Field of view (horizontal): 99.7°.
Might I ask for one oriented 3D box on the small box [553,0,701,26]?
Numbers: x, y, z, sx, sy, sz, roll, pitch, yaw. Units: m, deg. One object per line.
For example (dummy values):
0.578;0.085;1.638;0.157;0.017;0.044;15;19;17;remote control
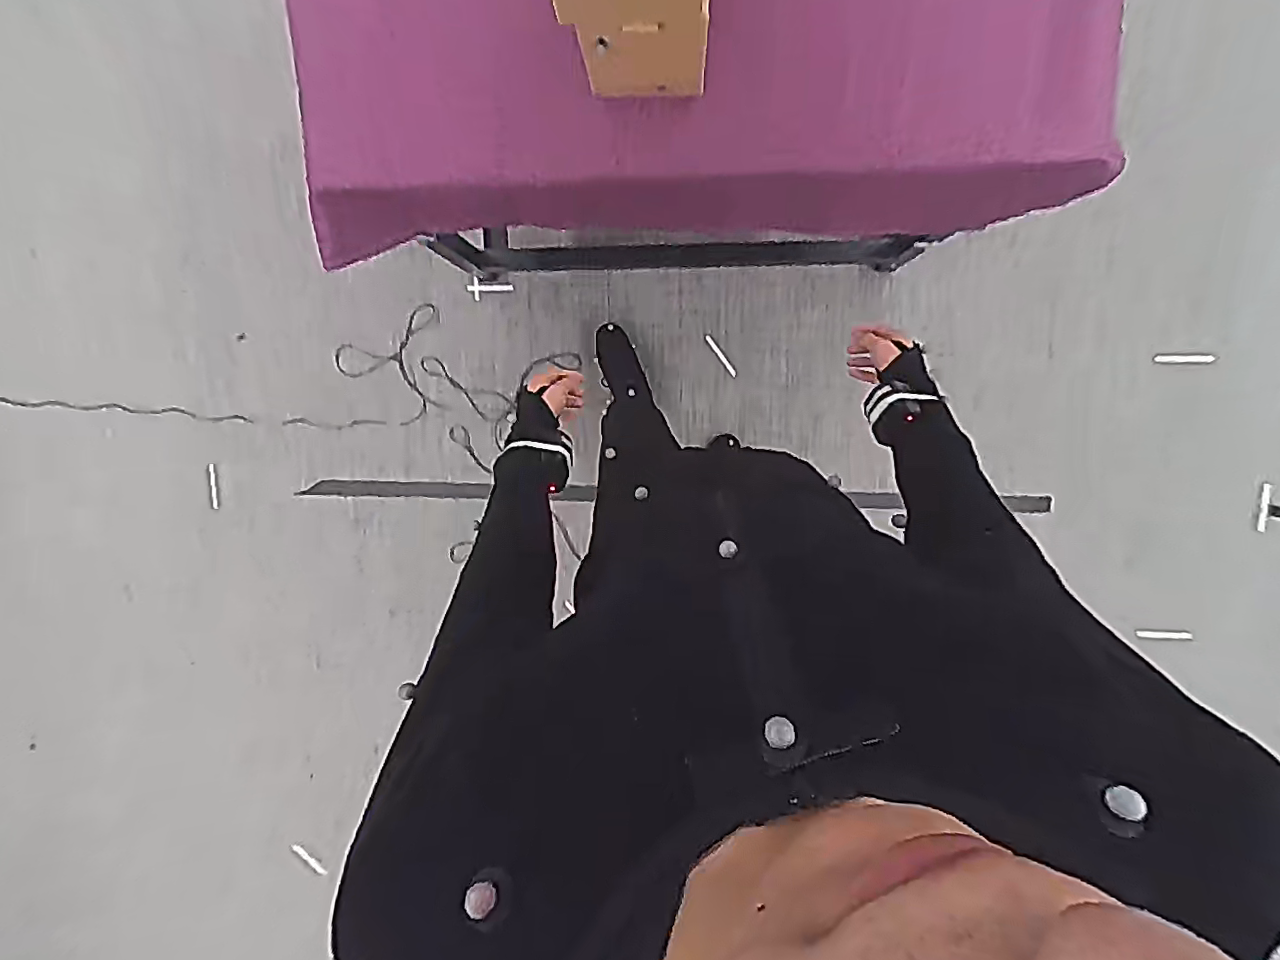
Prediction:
-0.018;-0.617;0.562;0.179;0.176;0.168;2;97;3;small box
